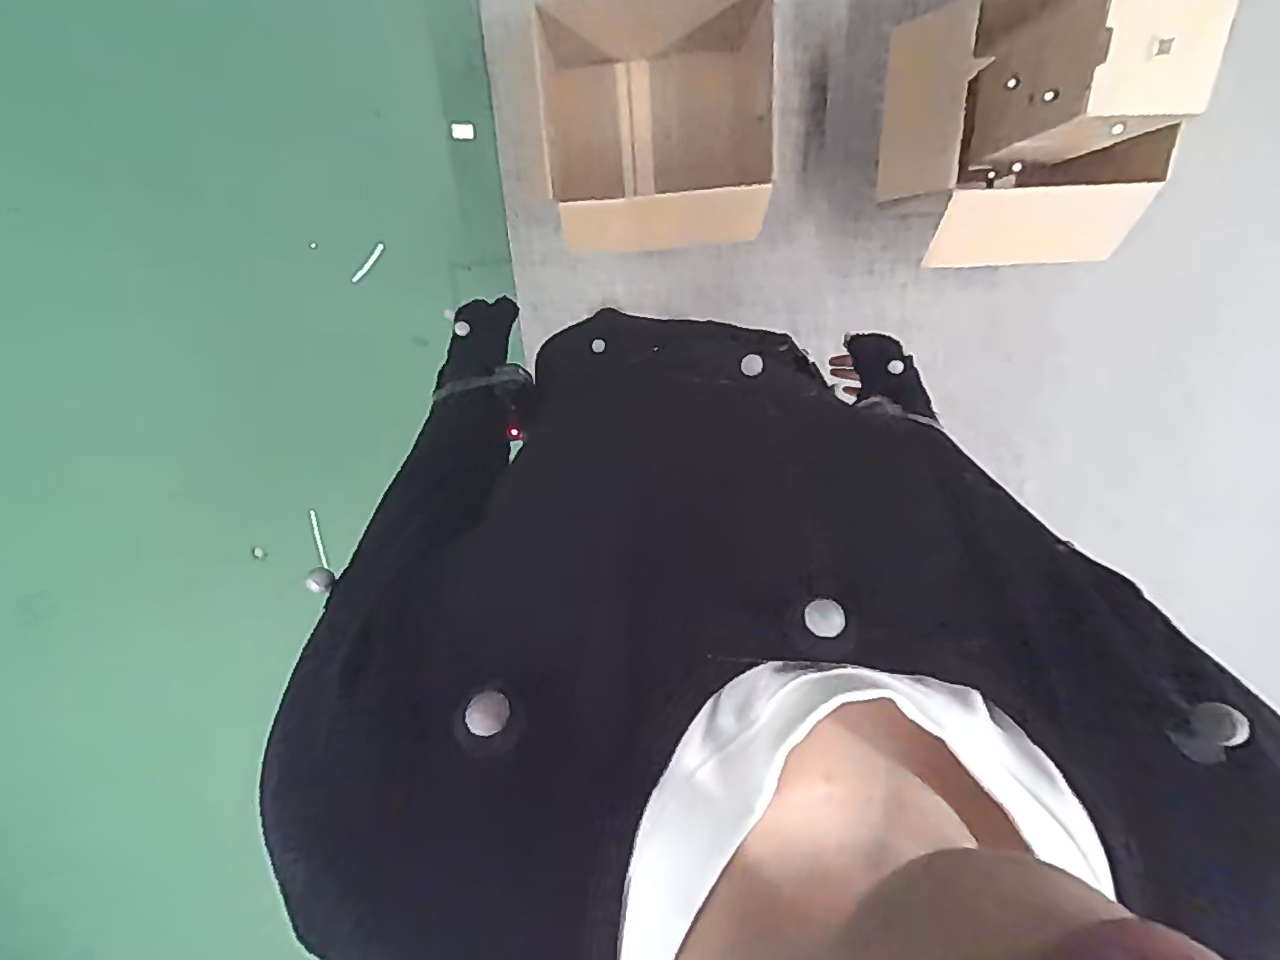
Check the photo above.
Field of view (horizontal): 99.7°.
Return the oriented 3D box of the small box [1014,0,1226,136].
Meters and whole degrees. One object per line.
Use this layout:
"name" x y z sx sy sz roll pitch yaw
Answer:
"small box" 0.729 -0.651 0.842 0.179 0.176 0.168 -2 111 1
